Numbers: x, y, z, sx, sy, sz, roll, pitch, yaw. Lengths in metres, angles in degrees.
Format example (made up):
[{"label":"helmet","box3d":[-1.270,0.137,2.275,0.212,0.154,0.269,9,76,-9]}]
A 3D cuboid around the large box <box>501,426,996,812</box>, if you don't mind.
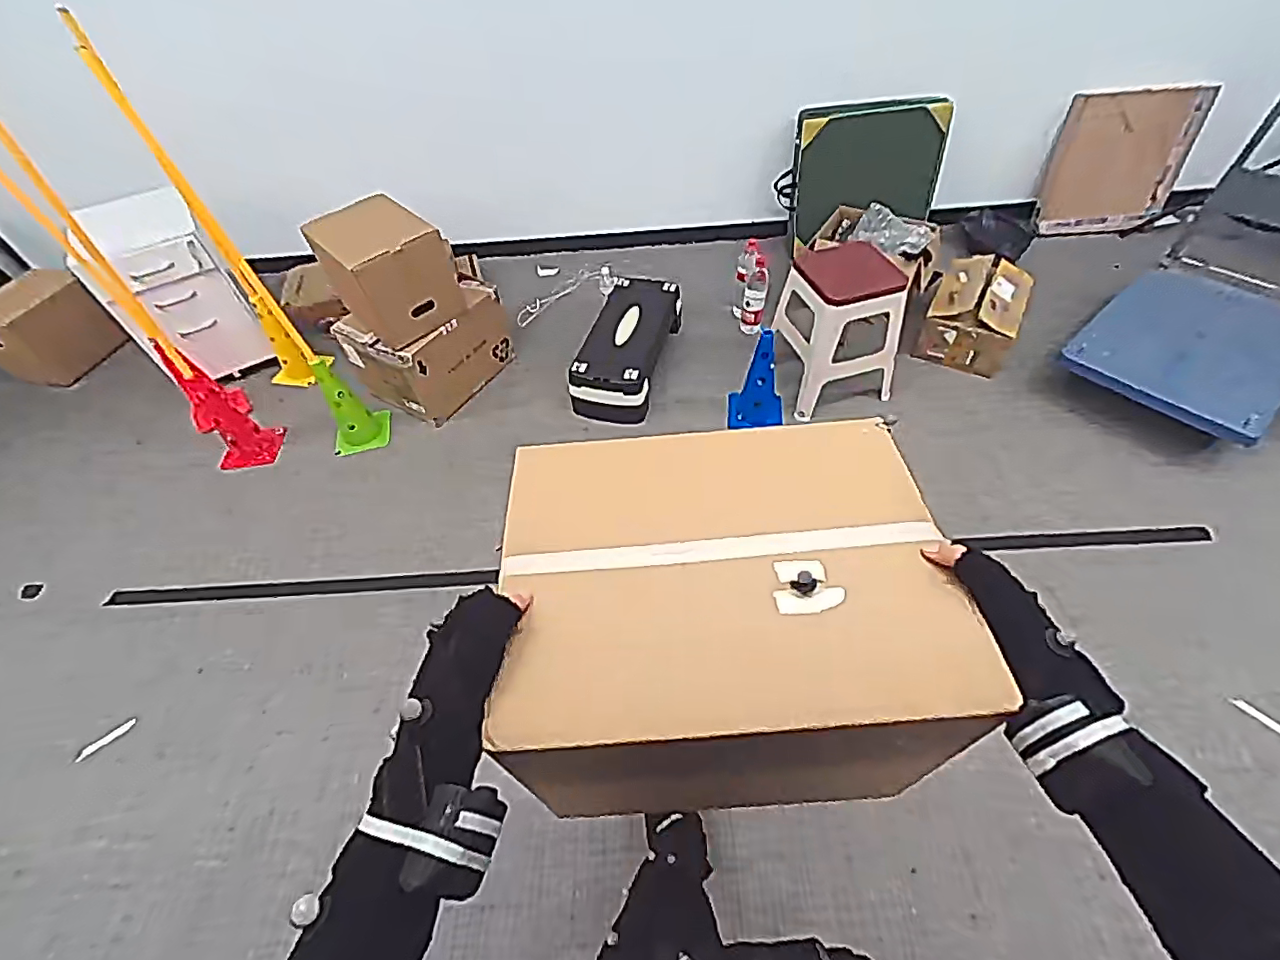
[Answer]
[{"label":"large box","box3d":[0.083,0.167,0.632,0.408,0.320,0.320,-5,50,0]}]
